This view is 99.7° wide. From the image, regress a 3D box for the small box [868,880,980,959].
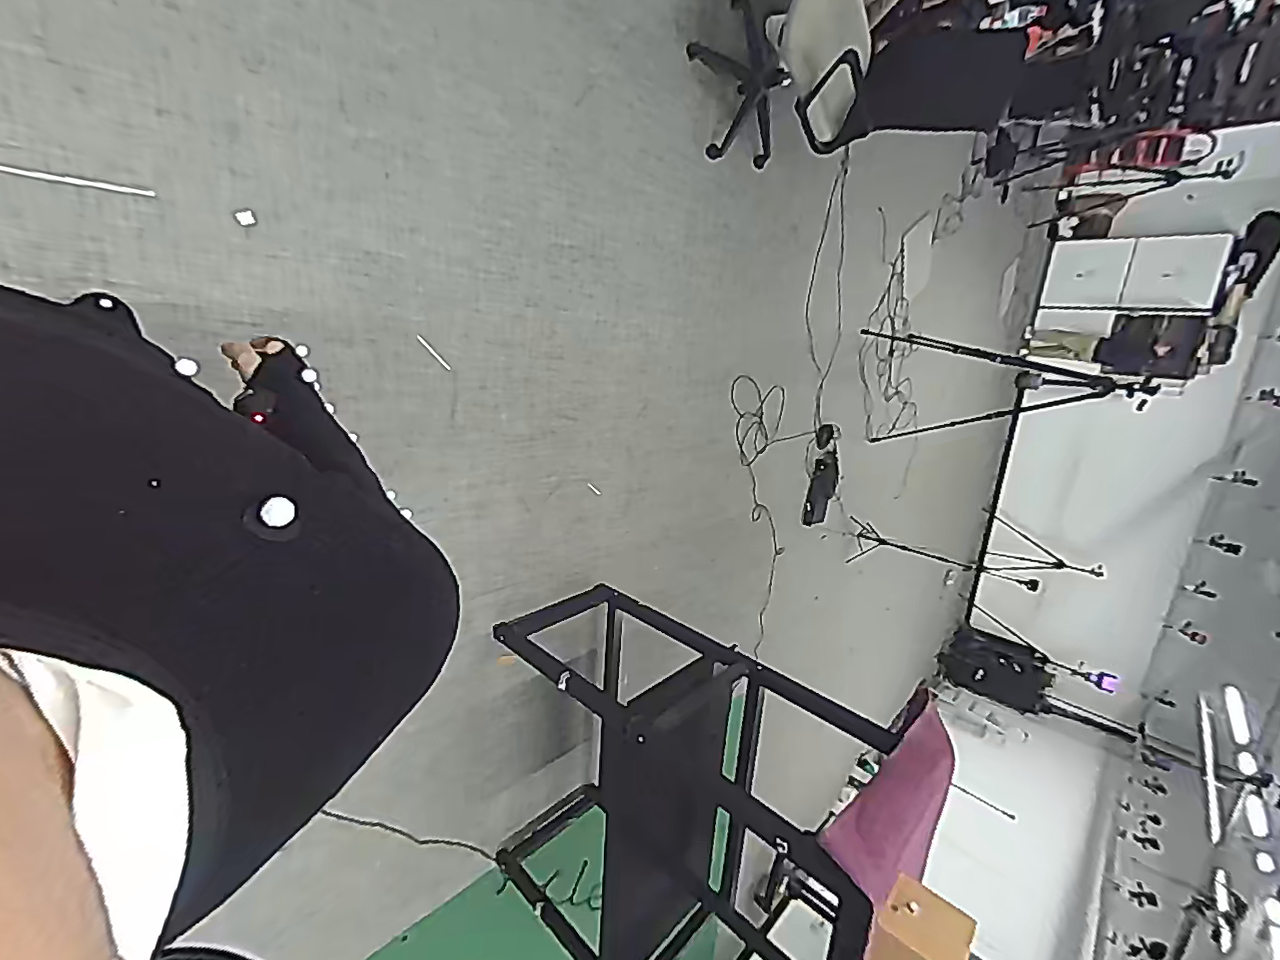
[{"bbox_3d":[0.621,1.051,1.198,0.168,0.176,0.179,-14,112,-45],"label":"small box"}]
